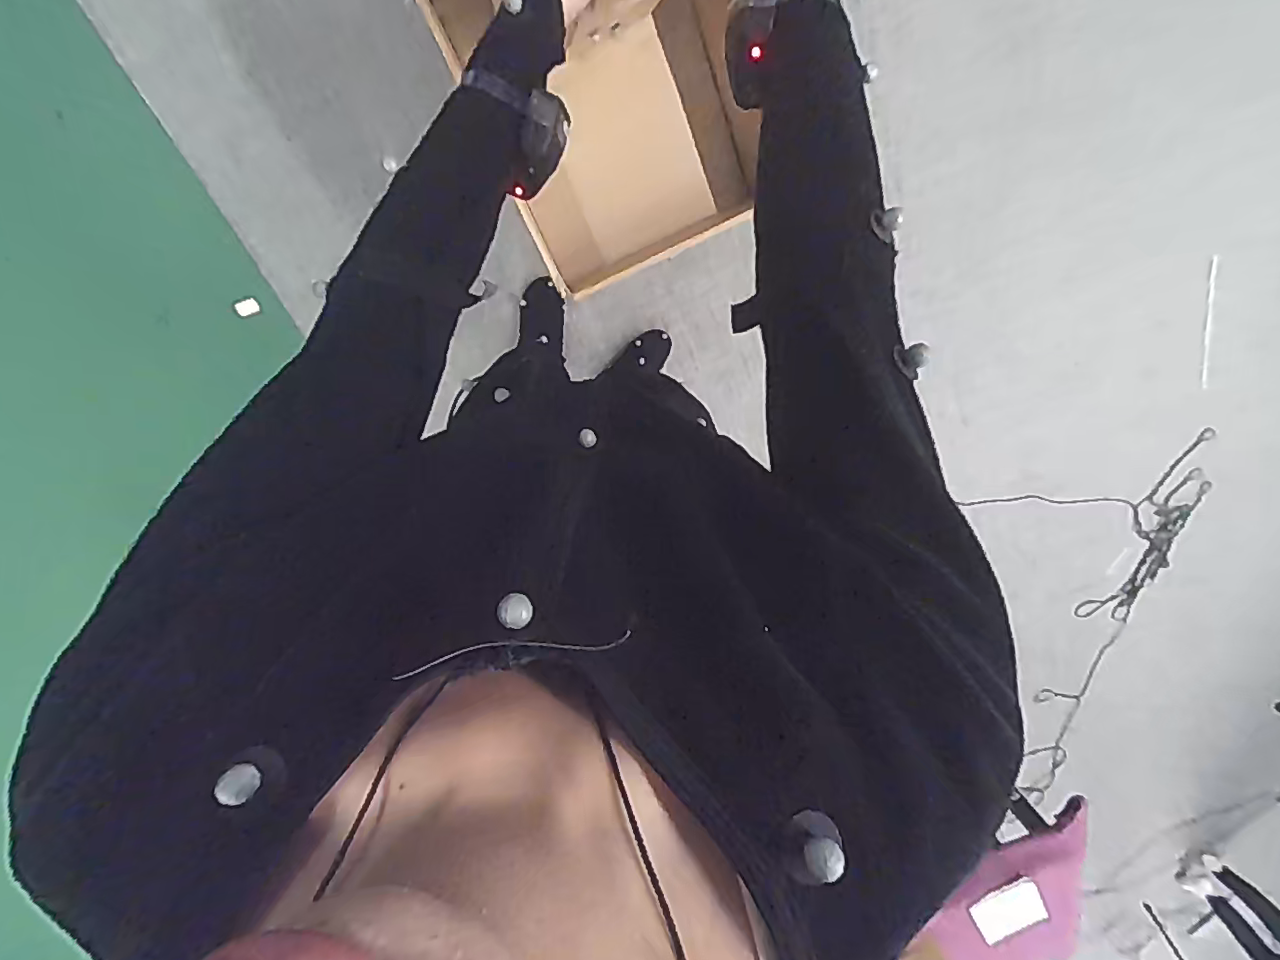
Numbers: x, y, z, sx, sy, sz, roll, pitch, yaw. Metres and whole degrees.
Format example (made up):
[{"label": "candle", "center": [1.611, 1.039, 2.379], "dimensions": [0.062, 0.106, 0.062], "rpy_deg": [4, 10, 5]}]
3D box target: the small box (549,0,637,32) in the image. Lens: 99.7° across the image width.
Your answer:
[{"label": "small box", "center": [-0.045, -0.633, 0.588], "dimensions": [0.168, 0.176, 0.179], "rpy_deg": [-30, 119, 3]}]
